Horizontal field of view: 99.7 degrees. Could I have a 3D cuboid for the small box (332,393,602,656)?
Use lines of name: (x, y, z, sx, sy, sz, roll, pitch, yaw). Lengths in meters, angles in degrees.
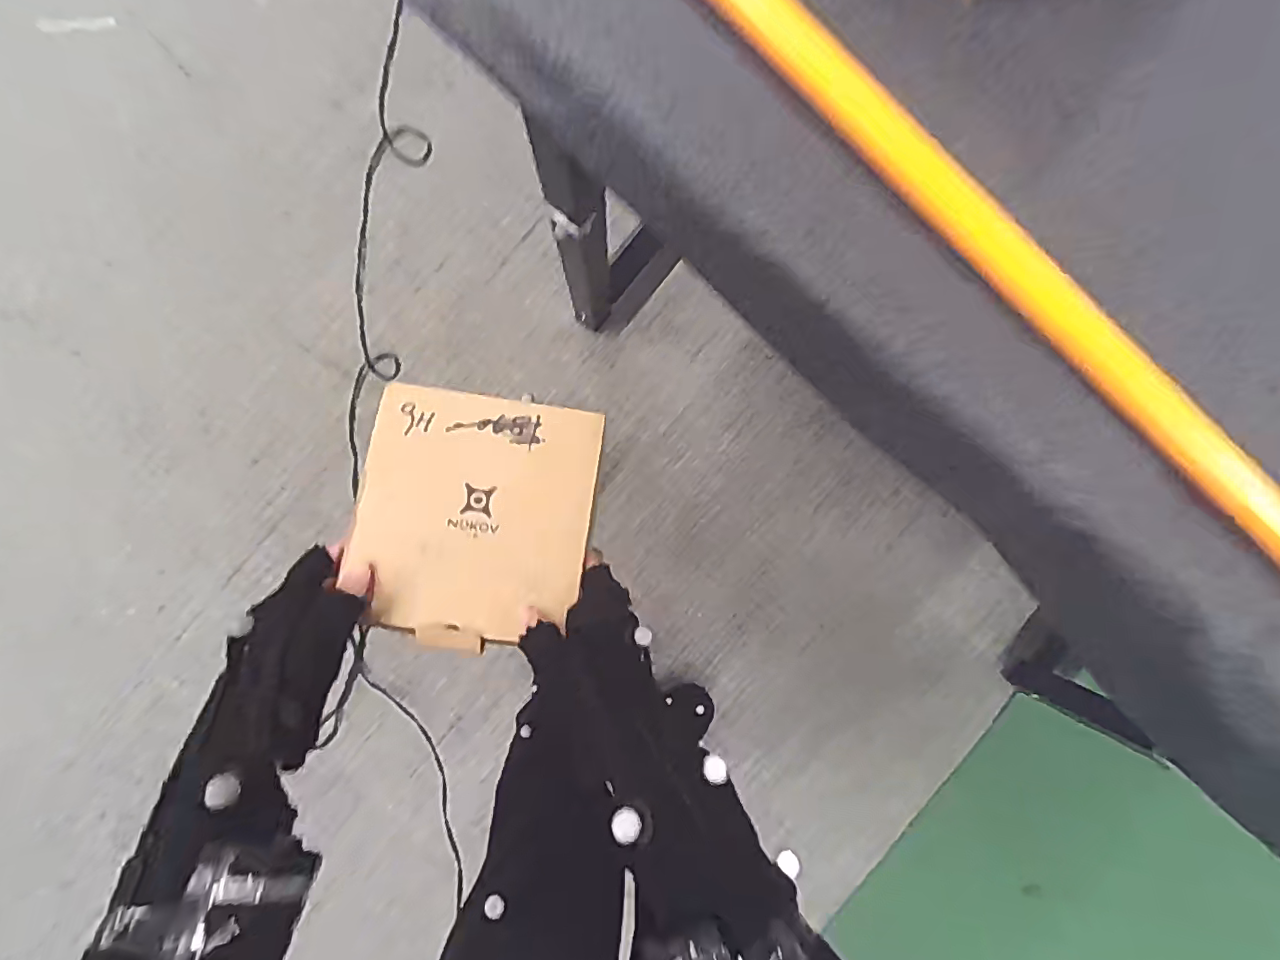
small box: (-0.122, 0.044, 0.457, 0.168, 0.176, 0.179, 5, 77, -2)
